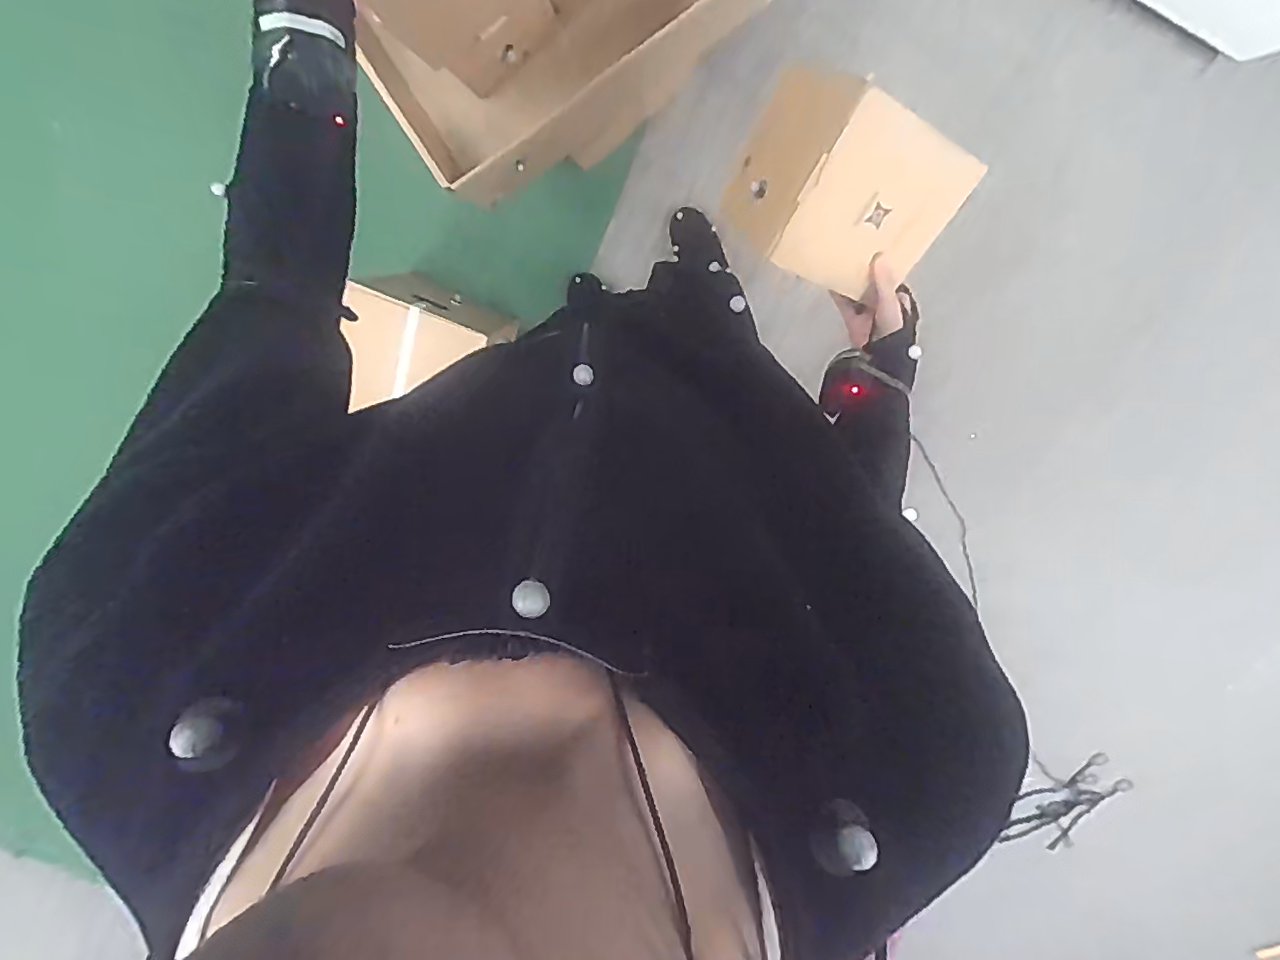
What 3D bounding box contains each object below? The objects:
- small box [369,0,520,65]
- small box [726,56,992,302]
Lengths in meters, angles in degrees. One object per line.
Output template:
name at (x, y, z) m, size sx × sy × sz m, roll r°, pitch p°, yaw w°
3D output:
small box at (-0.239, -0.618, 0.600) m, size 0.179 × 0.176 × 0.168 m, roll -29°, pitch 108°, yaw 13°
small box at (0.221, -0.330, 0.595) m, size 0.179 × 0.176 × 0.168 m, roll 11°, pitch 129°, yaw -26°
